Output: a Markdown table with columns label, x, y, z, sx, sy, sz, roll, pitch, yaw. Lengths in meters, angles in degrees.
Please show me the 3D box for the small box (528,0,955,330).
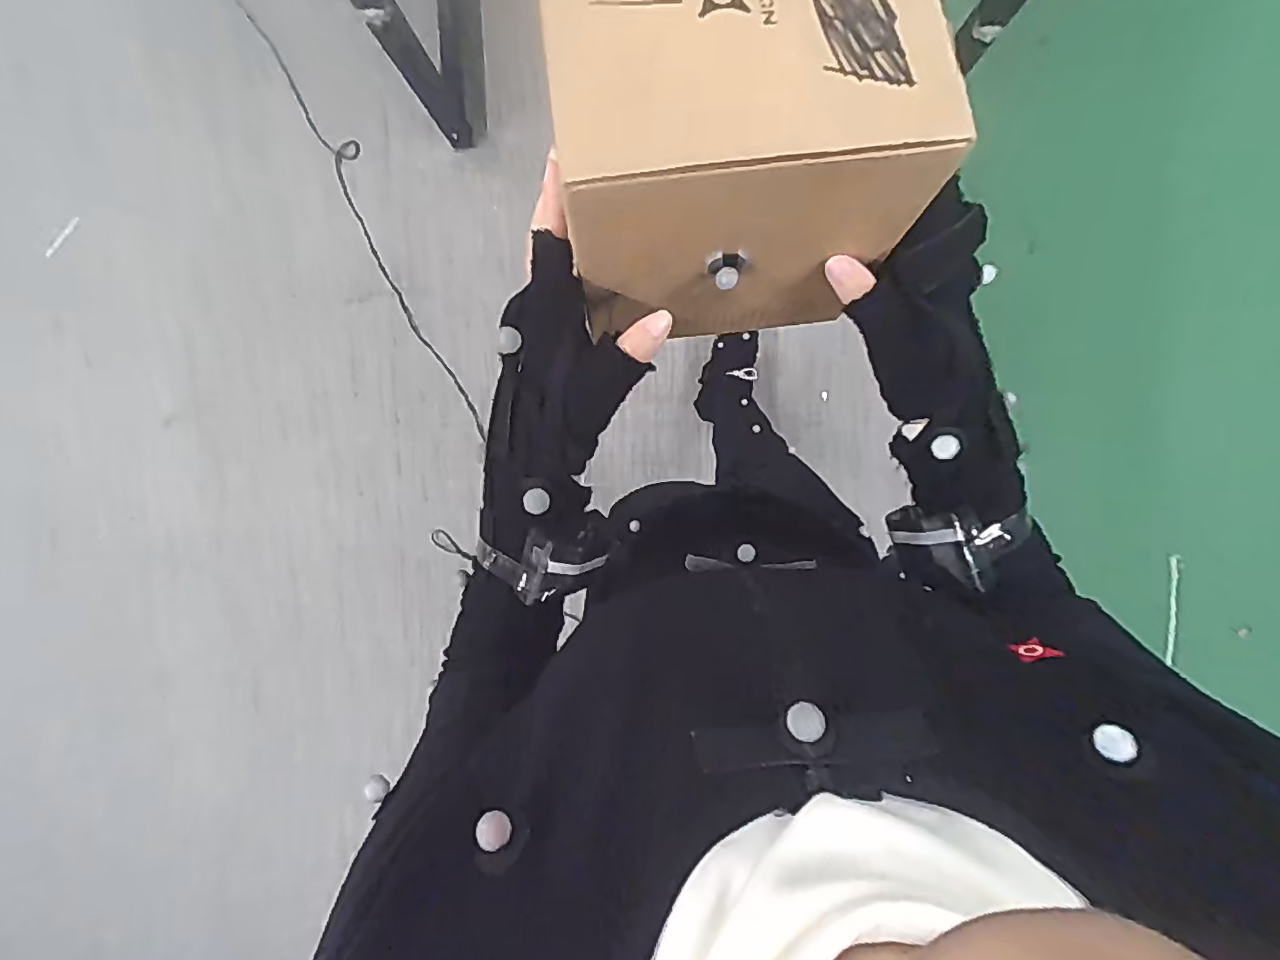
| label | x | y | z | sx | sy | sz | roll | pitch | yaw |
| --- | --- | --- | --- | --- | --- | --- | --- | --- | --- |
| small box | 0.037 | -0.202 | 0.312 | 0.179 | 0.176 | 0.168 | -6 | 81 | -1 |
